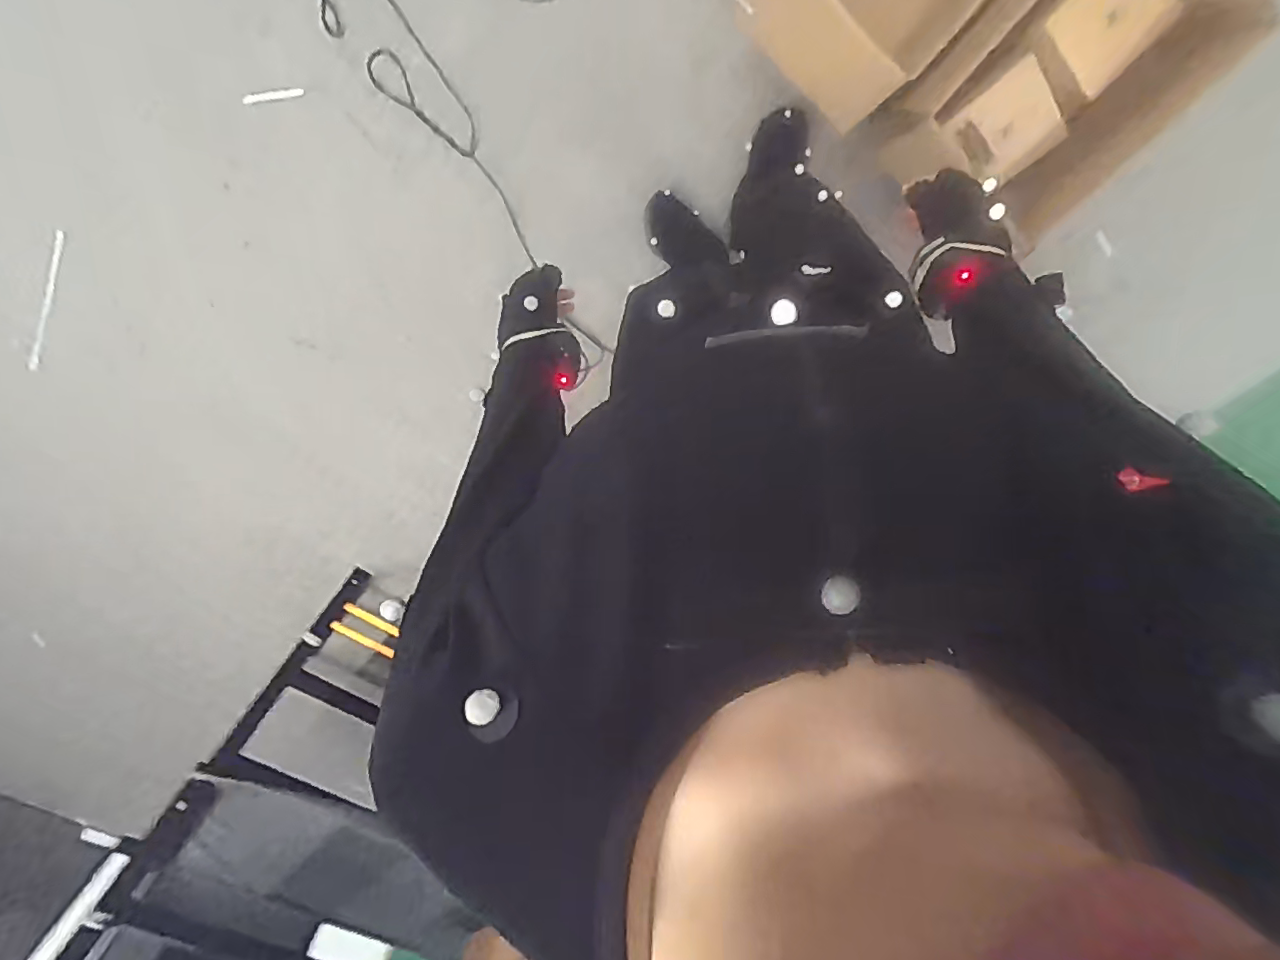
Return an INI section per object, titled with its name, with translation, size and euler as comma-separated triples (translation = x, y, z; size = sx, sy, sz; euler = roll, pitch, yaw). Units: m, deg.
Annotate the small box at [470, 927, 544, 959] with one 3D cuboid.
[small box]
translation = -0.393, 1.424, 1.553
size = 0.168, 0.176, 0.179
euler = 39, 116, -17
